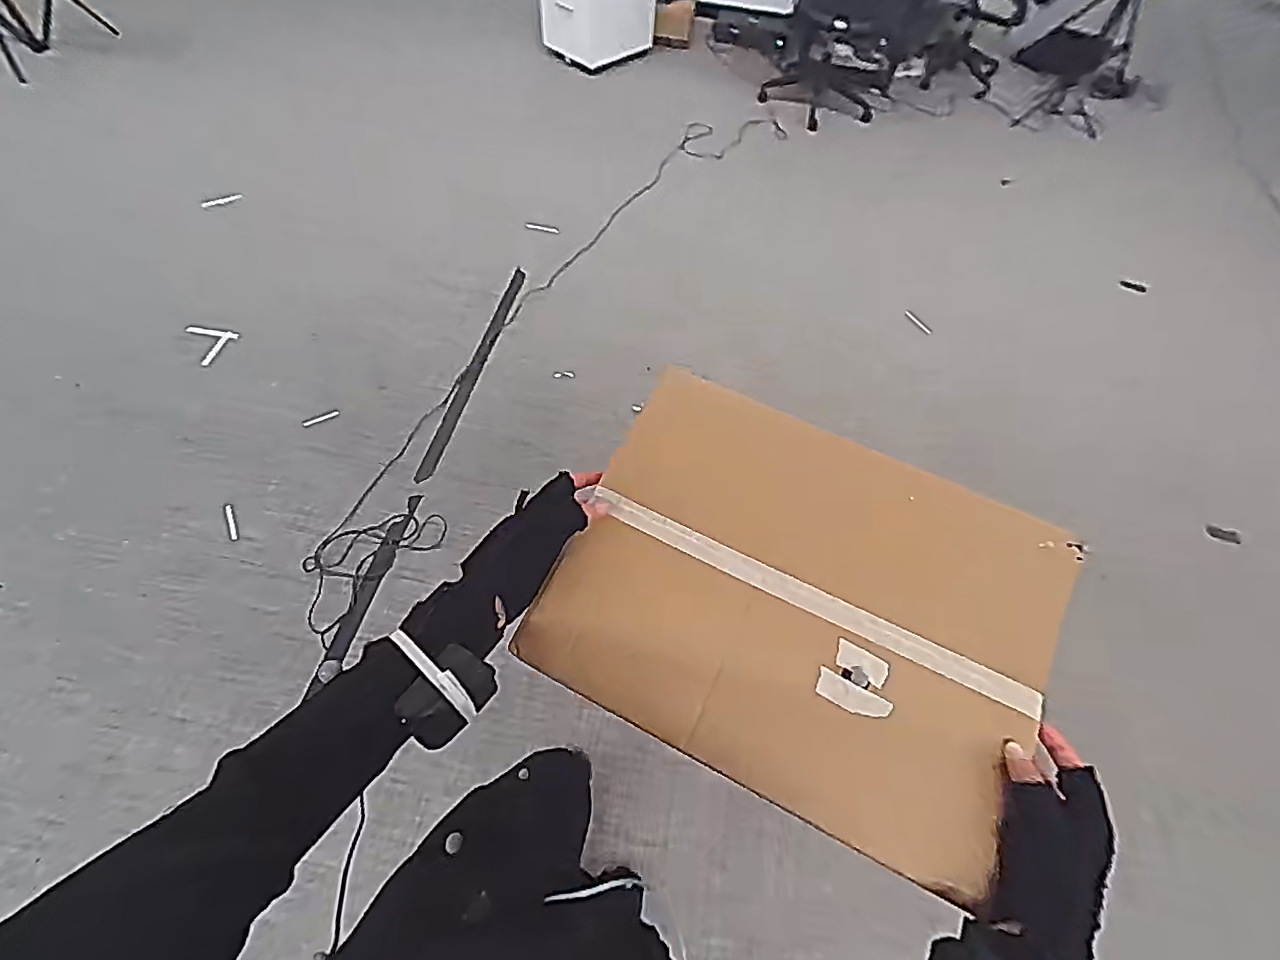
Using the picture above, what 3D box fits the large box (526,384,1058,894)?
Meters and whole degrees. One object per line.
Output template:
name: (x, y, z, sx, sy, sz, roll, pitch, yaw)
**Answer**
large box: (0.142, 0.156, 0.622, 0.408, 0.320, 0.320, 25, 73, 10)
